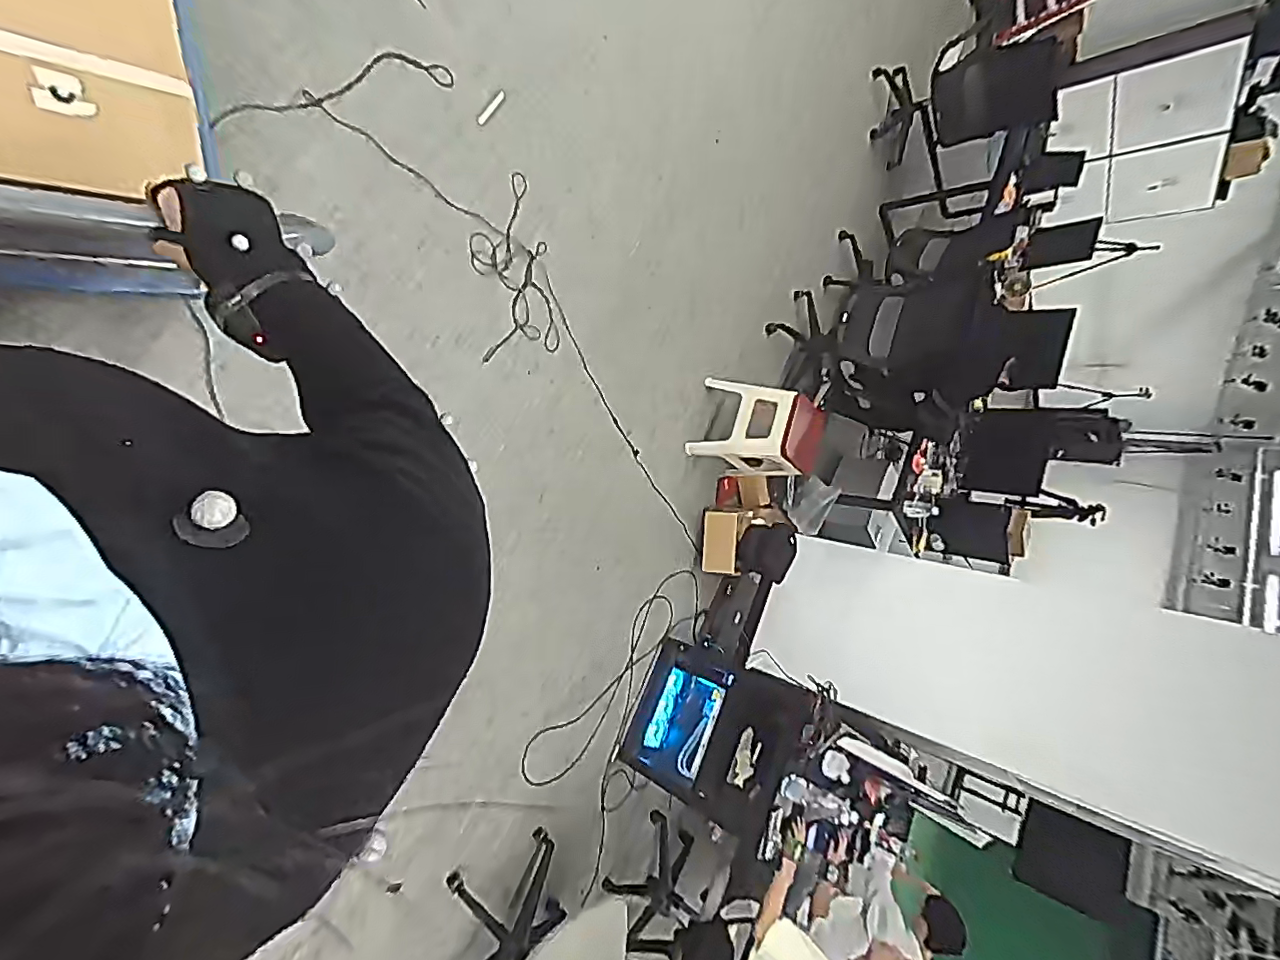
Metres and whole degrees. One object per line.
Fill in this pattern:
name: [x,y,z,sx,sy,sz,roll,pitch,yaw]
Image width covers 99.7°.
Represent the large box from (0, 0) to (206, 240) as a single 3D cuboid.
large box: [-0.898,-0.537,0.729,0.408,0.320,0.320,-15,109,-47]
